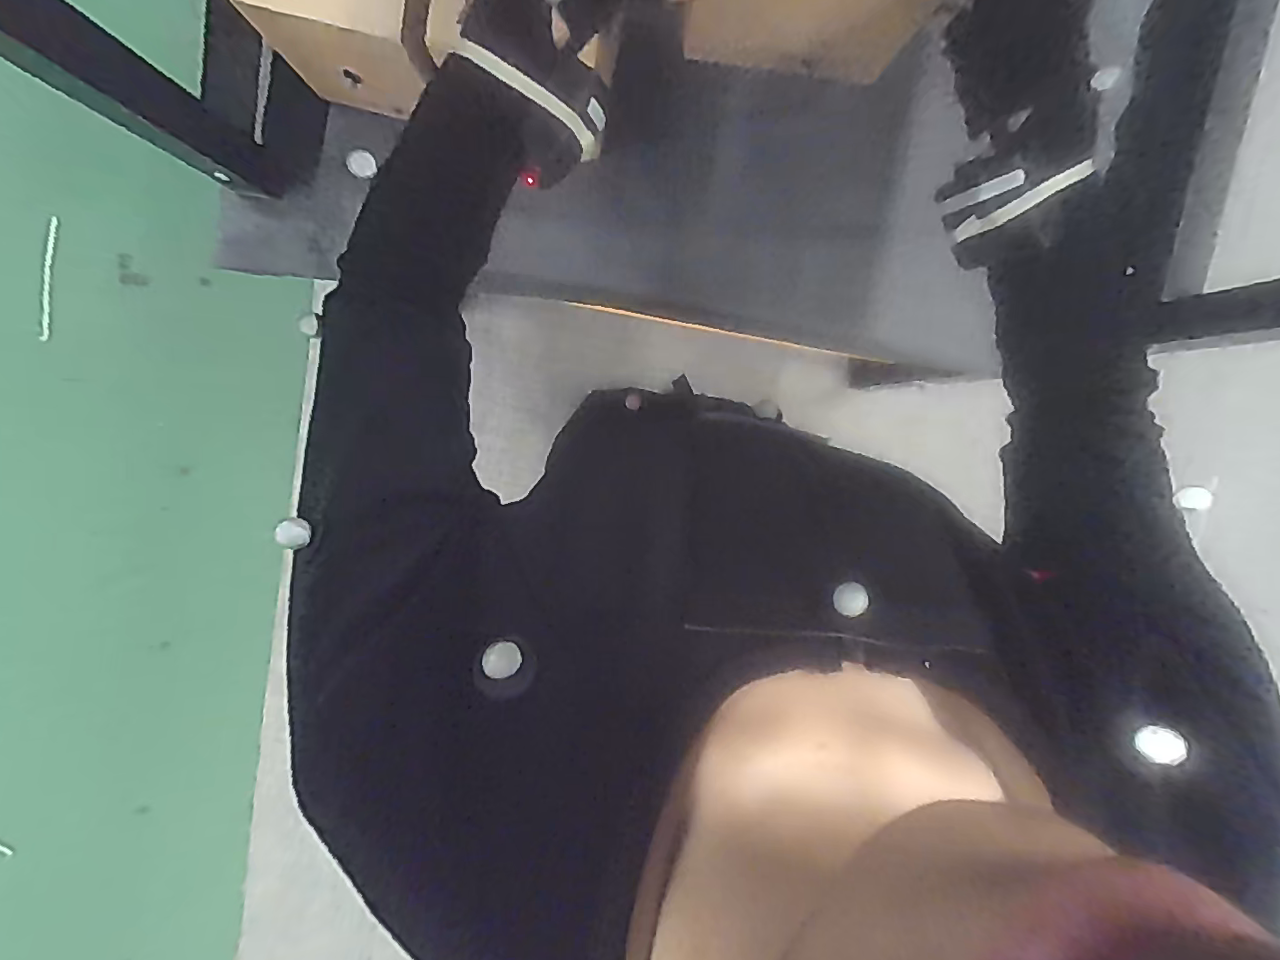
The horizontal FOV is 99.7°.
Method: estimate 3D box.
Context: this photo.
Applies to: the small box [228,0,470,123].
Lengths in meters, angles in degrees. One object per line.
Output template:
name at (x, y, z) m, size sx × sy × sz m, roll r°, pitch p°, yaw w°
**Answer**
small box at (-0.293, -0.525, 0.576) m, size 0.168 × 0.176 × 0.179 m, roll 12°, pitch 96°, yaw -4°
